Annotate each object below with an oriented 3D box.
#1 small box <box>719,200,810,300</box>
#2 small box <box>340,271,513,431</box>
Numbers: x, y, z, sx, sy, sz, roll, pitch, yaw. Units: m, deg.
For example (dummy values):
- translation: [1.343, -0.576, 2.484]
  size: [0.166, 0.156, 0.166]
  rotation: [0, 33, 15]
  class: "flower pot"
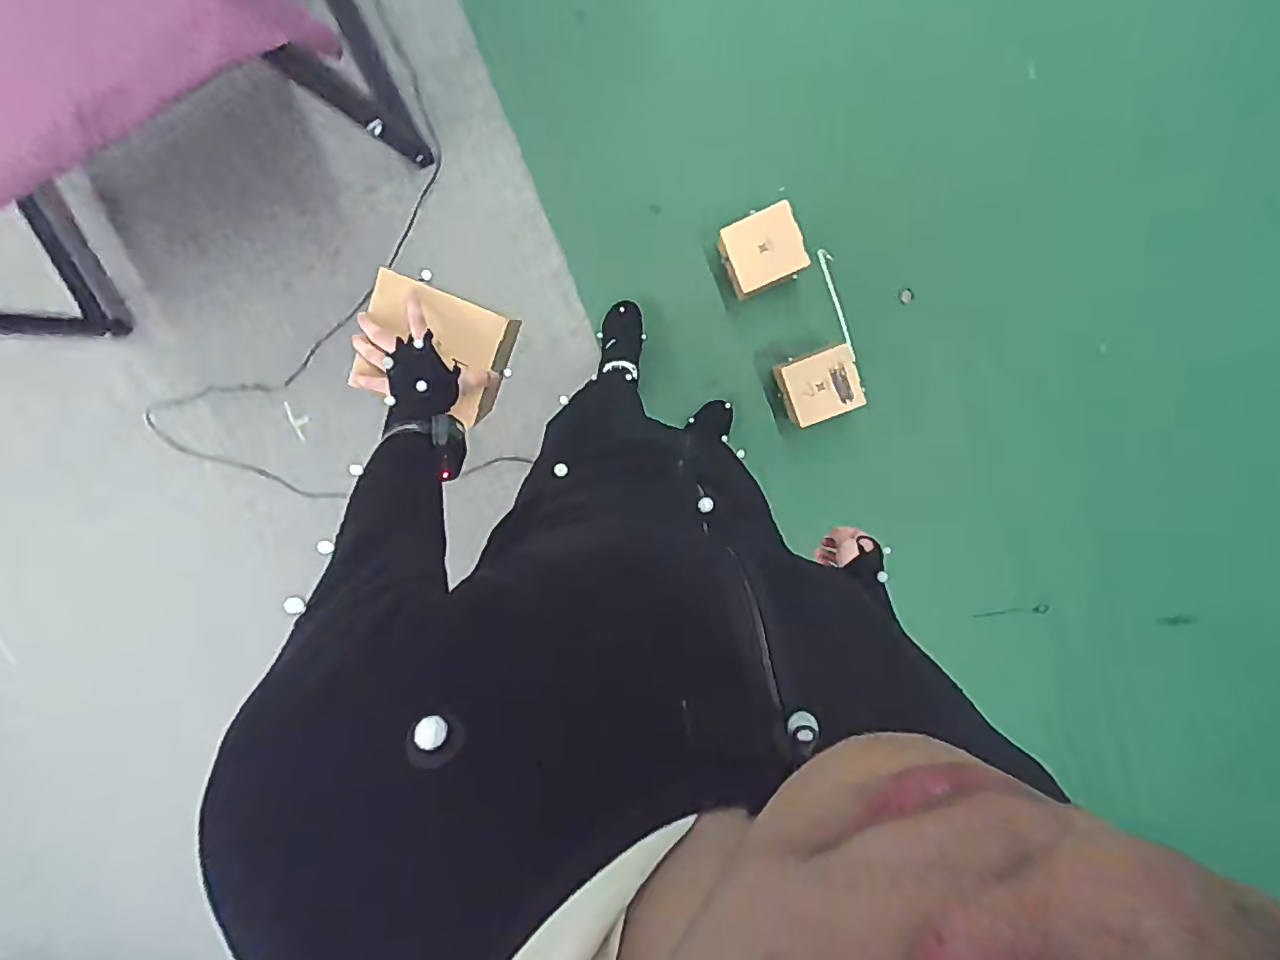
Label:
- translation: [0.313, -0.581, 1.391]
  size: [0.179, 0.176, 0.168]
  rotation: [-22, 99, 9]
  class: "small box"
- translation: [-0.306, -0.190, 0.808]
  size: [0.179, 0.176, 0.168]
  rotation: [20, 104, -11]
  class: "small box"
